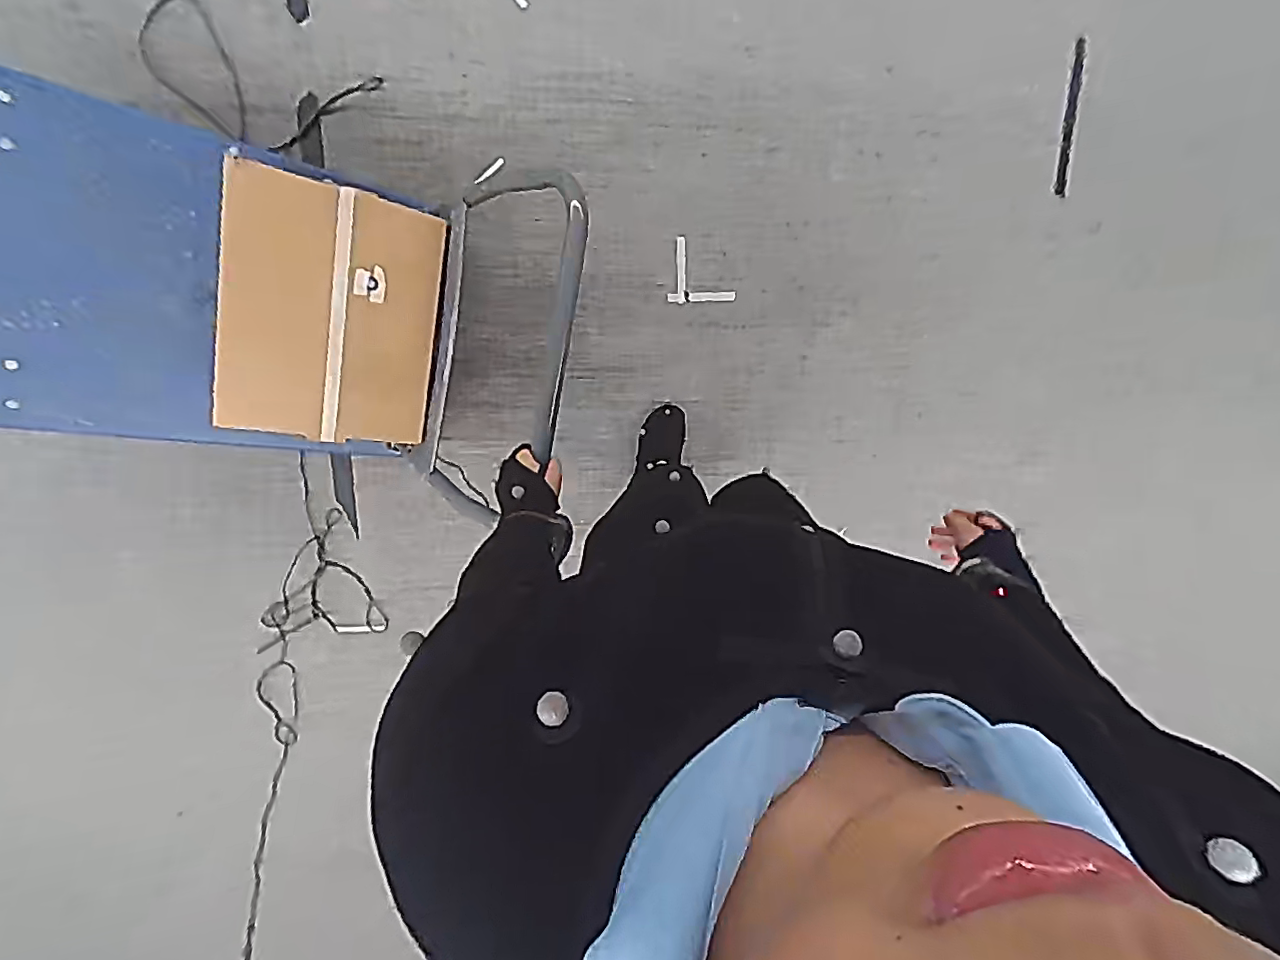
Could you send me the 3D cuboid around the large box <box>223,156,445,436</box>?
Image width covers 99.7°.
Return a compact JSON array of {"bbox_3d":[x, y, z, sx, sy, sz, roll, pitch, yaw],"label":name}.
[{"bbox_3d":[-0.576,-0.312,1.028,0.320,0.320,0.408,3,102,-33],"label":"large box"}]
